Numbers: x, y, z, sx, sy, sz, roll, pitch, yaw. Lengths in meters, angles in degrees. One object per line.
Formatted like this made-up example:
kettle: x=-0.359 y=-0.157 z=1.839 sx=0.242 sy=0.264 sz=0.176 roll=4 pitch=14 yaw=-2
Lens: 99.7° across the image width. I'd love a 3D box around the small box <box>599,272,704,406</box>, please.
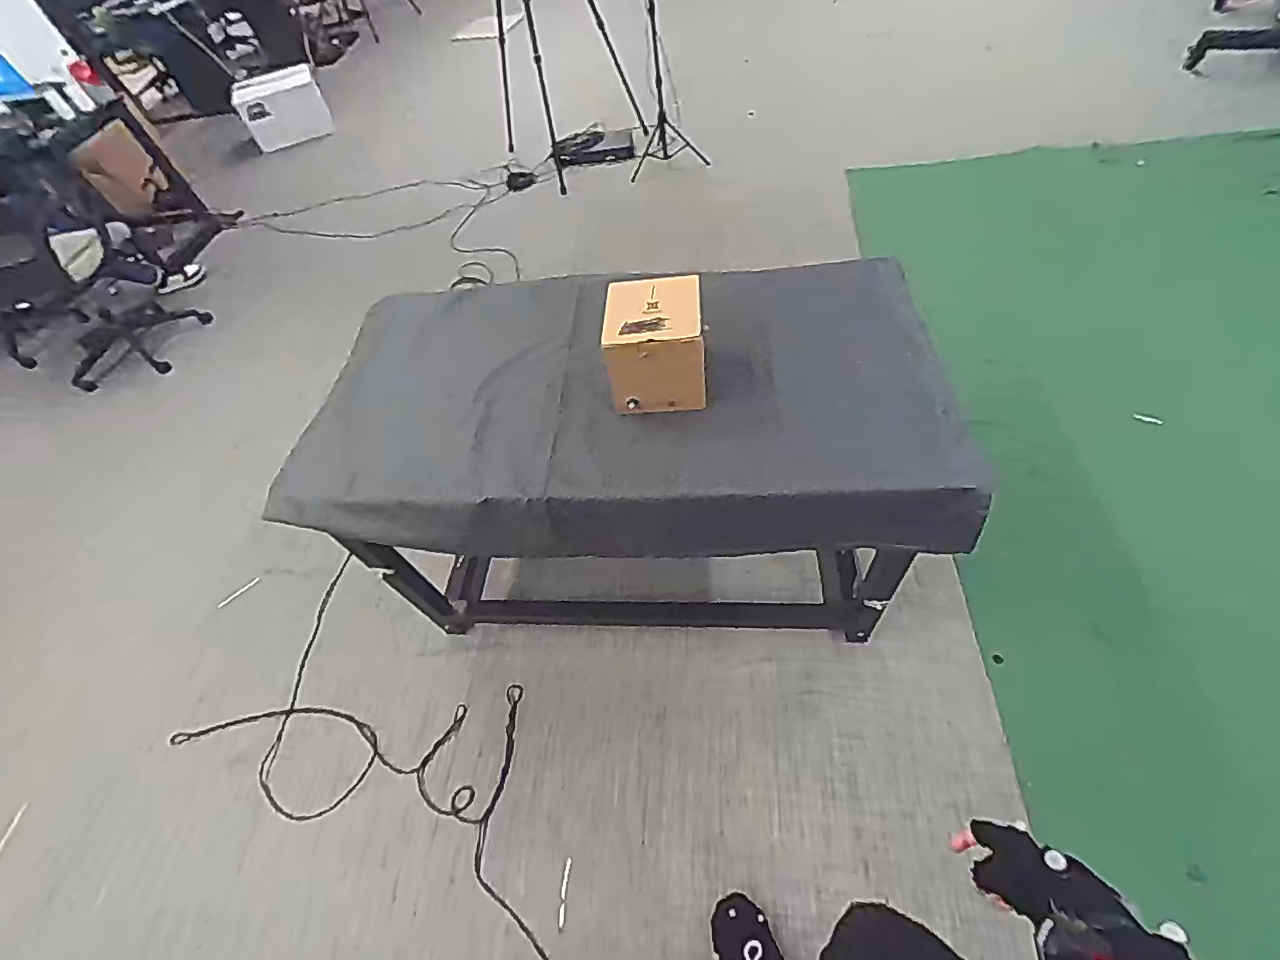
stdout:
small box: x=0.029 y=-0.248 z=0.985 sx=0.168 sy=0.176 sz=0.179 roll=-3 pitch=53 yaw=8
